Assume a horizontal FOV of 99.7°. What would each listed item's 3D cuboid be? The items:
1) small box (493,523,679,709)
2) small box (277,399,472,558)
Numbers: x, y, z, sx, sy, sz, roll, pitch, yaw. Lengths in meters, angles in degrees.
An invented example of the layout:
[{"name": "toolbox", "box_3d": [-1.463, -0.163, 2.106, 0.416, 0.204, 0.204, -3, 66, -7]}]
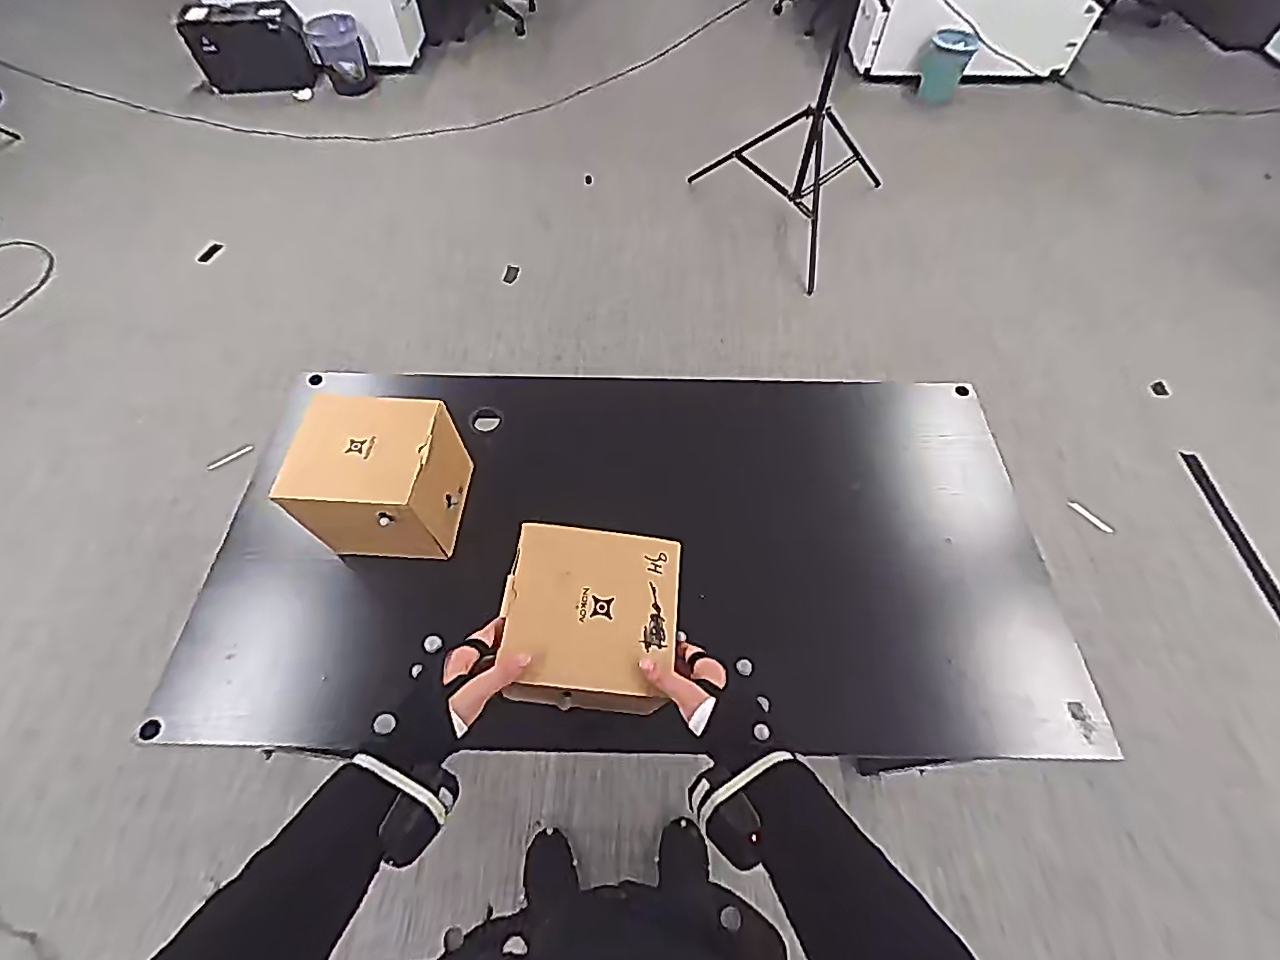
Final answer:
[{"name": "small box", "box_3d": [-0.058, 0.165, 0.629, 0.179, 0.176, 0.168, 8, 62, -4]}, {"name": "small box", "box_3d": [-0.359, 0.003, 0.773, 0.179, 0.176, 0.168, 3, 59, 0]}]
